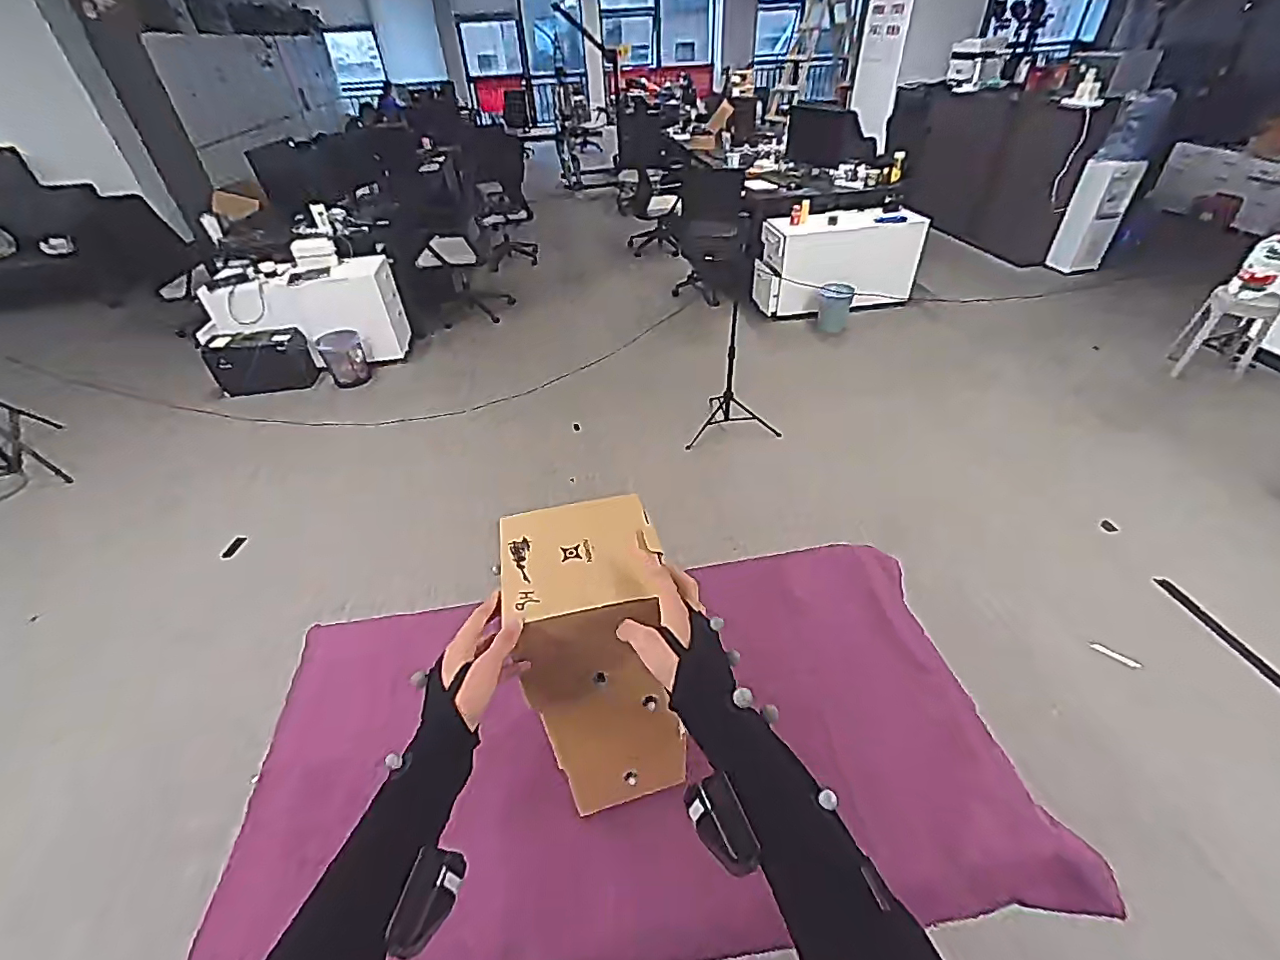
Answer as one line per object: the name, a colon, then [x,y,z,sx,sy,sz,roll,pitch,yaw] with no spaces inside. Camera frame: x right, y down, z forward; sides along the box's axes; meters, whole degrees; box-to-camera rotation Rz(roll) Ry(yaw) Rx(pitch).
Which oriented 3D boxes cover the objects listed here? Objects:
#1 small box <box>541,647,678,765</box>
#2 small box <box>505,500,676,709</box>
small box: [-0.047,0.273,0.762,0.179,0.176,0.168,-9,40,-7]
small box: [-0.062,0.149,0.655,0.179,0.176,0.168,-8,39,-8]
